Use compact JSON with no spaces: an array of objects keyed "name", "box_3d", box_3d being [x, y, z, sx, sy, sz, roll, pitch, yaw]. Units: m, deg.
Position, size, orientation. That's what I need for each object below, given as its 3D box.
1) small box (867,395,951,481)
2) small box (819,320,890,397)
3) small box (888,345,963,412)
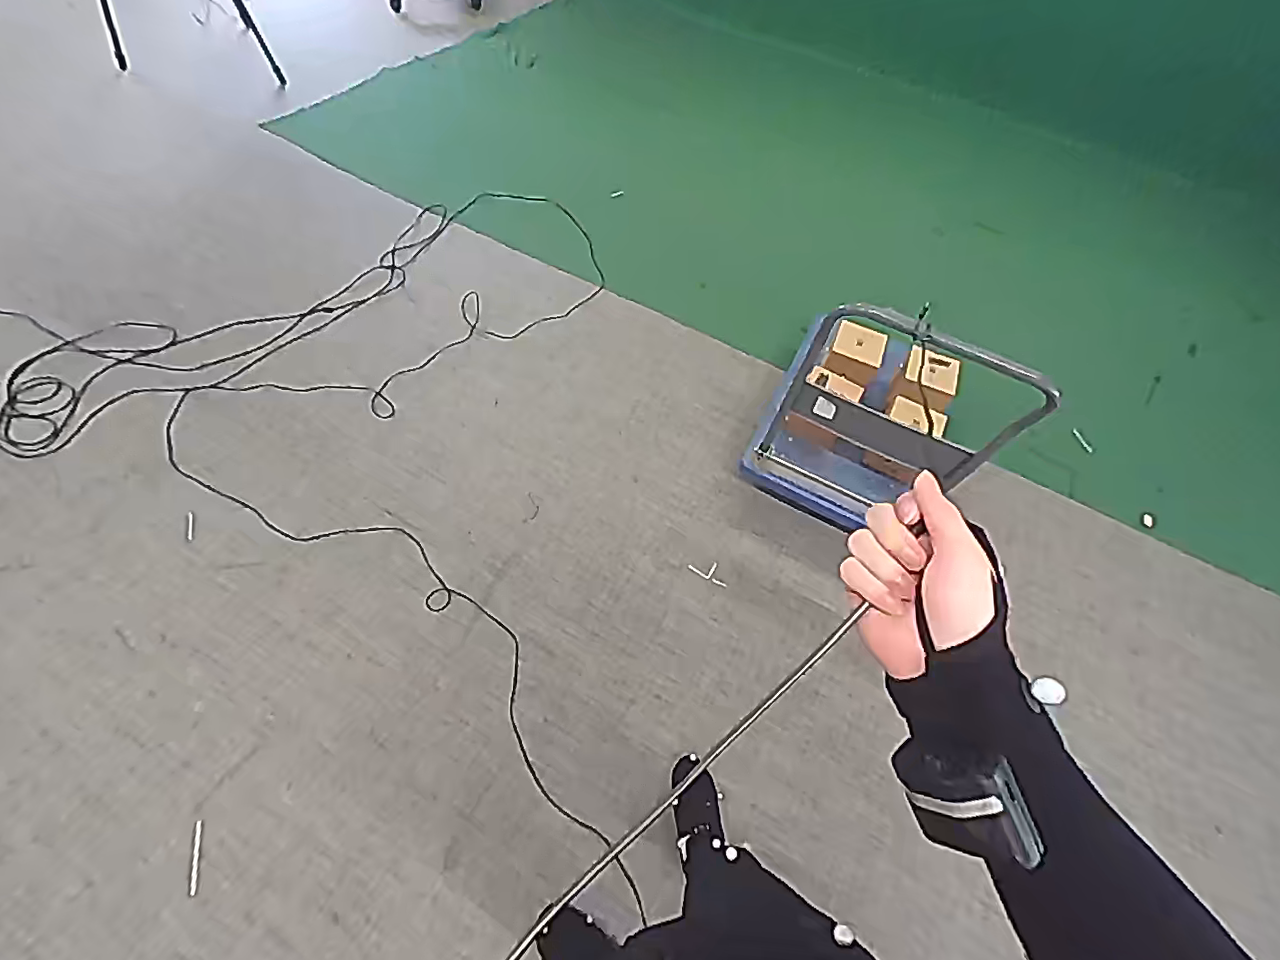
[{"name":"small box","box_3d":[0.852,-0.131,1.725,0.168,0.176,0.179,27,60,11]},{"name":"small box","box_3d":[0.749,-0.422,1.901,0.168,0.176,0.179,24,58,8]},{"name":"small box","box_3d":[0.979,-0.326,1.862,0.168,0.176,0.179,23,59,10]}]
